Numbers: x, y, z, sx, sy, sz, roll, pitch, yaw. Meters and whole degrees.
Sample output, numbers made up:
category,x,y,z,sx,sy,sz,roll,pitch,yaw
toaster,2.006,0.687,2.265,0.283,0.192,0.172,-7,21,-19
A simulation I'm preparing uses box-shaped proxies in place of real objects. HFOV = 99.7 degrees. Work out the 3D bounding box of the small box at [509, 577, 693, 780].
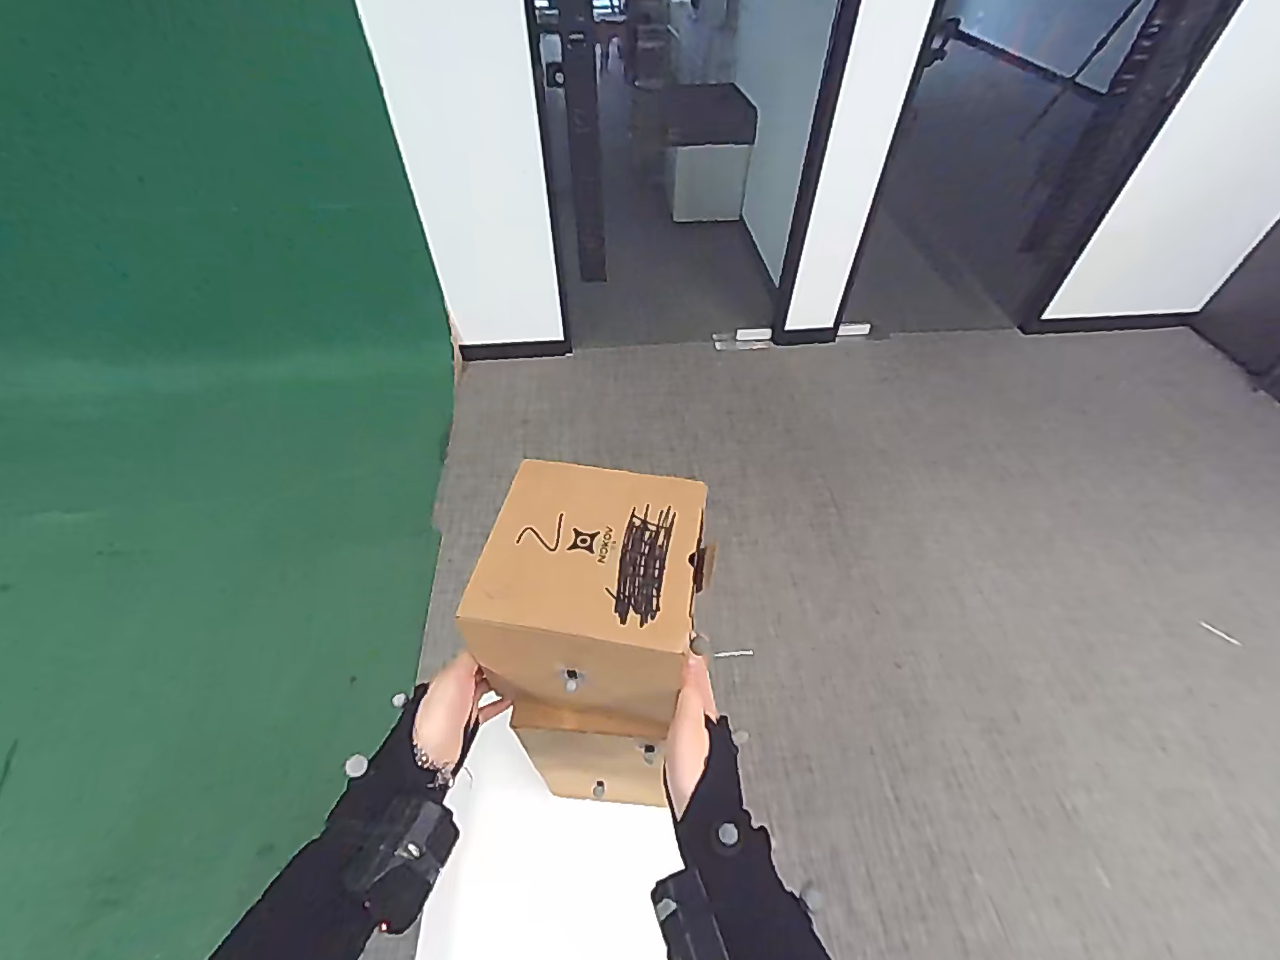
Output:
category,x,y,z,sx,sy,sz,roll,pitch,yaw
small box,-0.033,0.230,0.619,0.179,0.176,0.168,4,48,2

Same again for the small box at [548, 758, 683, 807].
category,x,y,z,sx,sy,sz,roll,pitch,yaw
small box,-0.030,0.335,0.743,0.179,0.176,0.168,3,49,3
